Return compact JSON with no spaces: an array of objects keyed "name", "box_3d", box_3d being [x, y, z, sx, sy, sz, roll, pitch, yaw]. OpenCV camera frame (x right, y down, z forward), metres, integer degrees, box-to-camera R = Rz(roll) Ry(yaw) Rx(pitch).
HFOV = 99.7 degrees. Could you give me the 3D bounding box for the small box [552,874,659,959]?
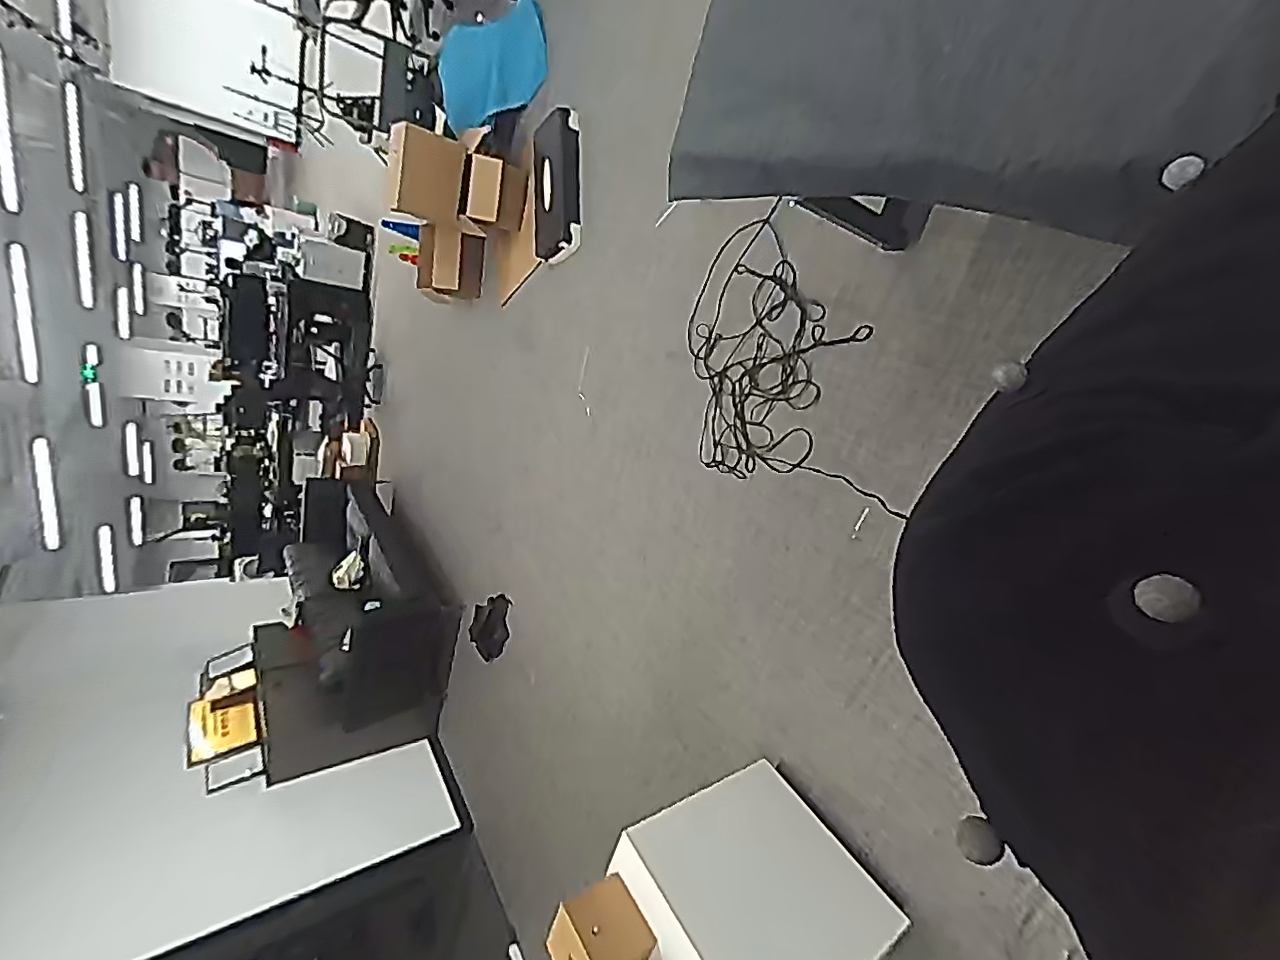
[{"name":"small box","box_3d":[-0.081,1.092,1.278,0.179,0.176,0.168,37,117,45]}]
